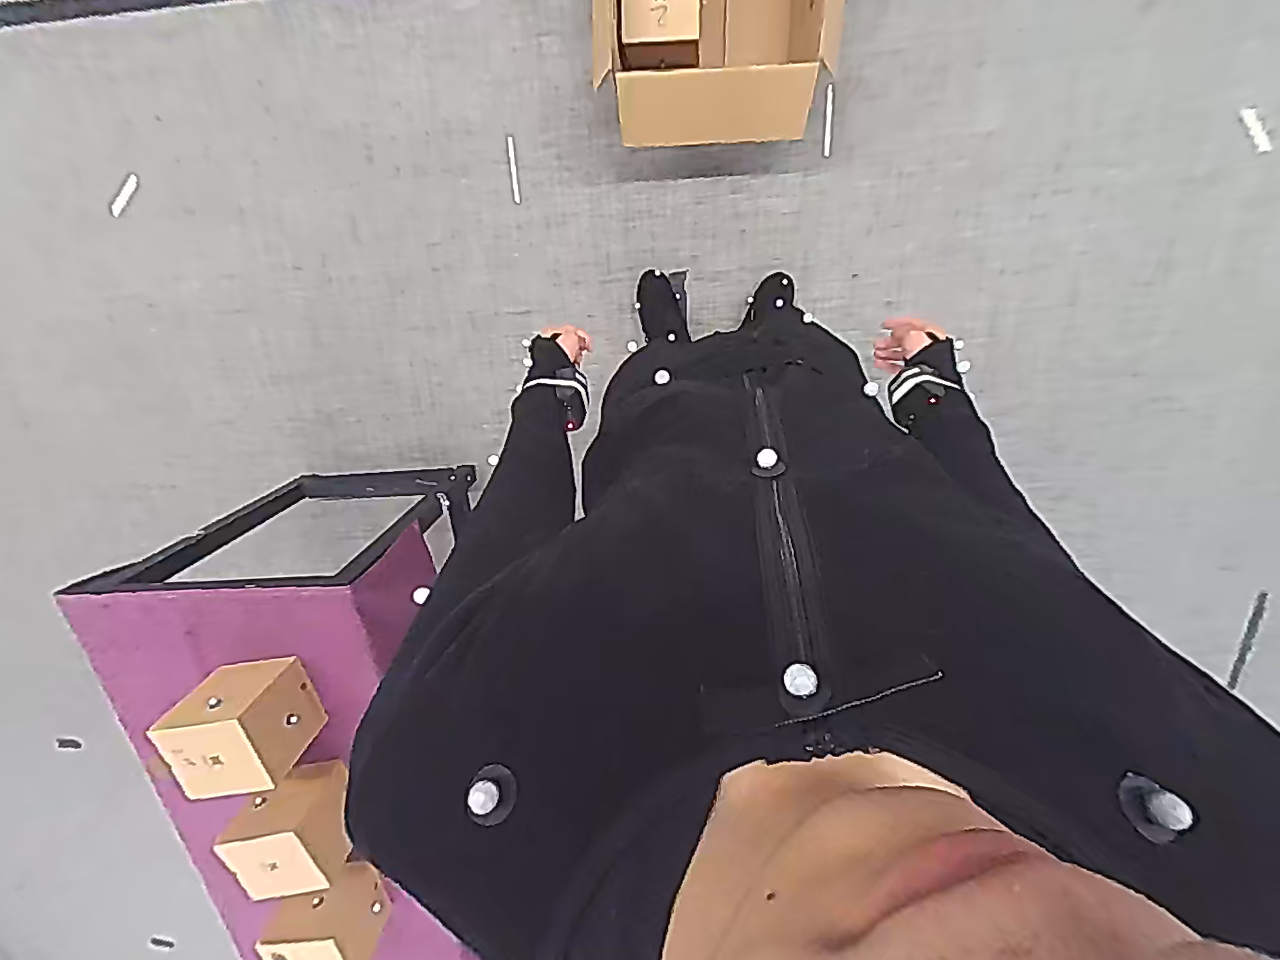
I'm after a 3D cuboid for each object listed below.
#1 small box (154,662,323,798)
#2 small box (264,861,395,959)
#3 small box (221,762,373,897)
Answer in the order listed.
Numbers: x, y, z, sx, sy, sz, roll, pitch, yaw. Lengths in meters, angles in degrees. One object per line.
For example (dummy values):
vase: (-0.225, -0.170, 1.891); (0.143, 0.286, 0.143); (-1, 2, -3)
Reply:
small box: (-0.747, 0.469, 1.035); (0.179, 0.176, 0.168); (-9, 110, 7)
small box: (-0.700, 1.012, 1.239); (0.179, 0.176, 0.168); (-7, 110, 5)
small box: (-0.704, 0.725, 1.132); (0.179, 0.176, 0.168); (-13, 110, 8)
